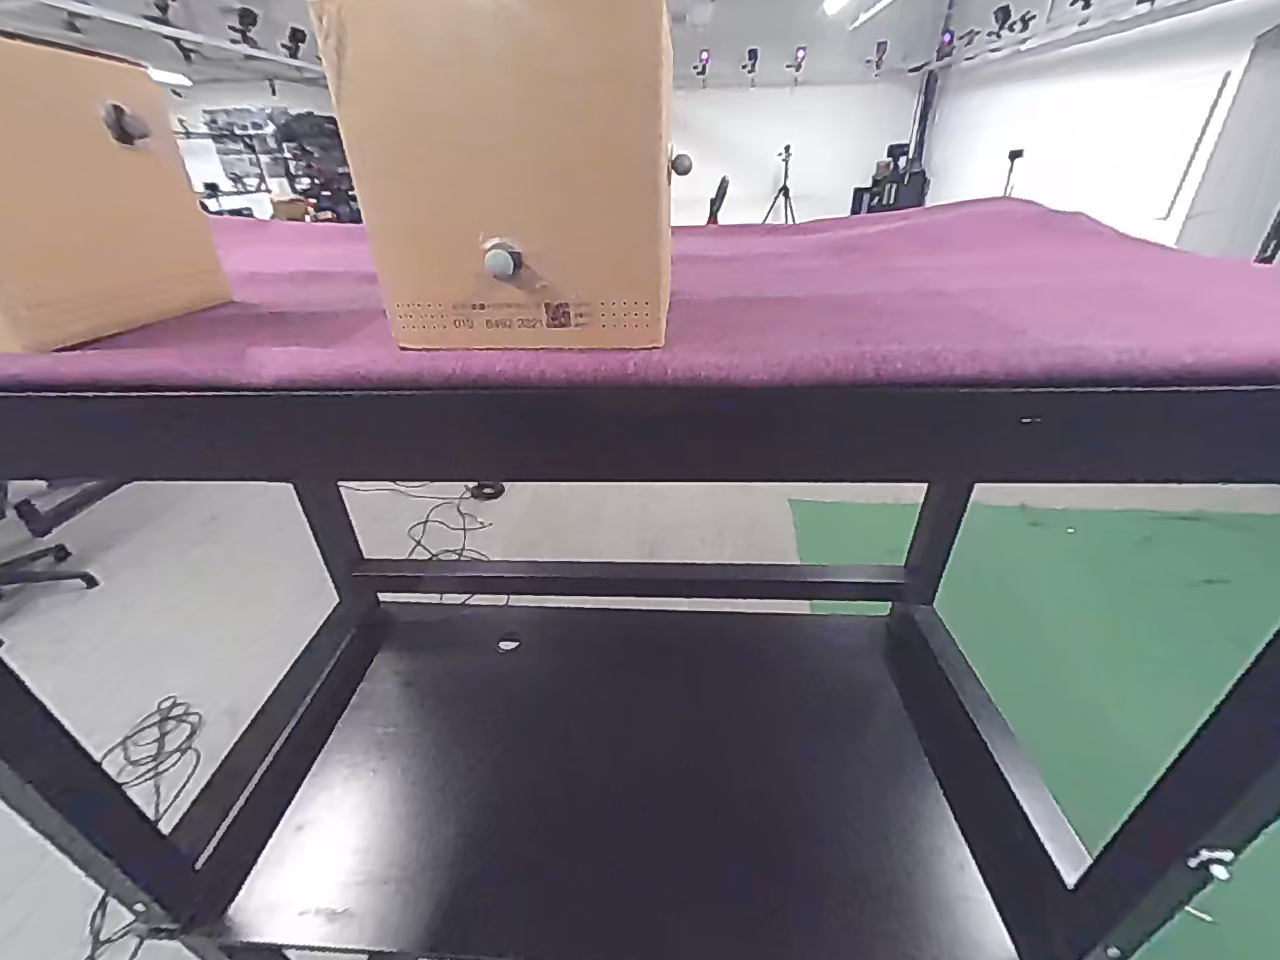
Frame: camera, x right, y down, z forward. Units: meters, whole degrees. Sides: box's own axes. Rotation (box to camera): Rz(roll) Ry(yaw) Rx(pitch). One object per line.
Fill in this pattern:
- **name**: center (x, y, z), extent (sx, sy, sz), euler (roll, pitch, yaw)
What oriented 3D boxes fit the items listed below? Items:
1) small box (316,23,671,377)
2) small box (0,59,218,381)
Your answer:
- **small box**: center (-0.065, -0.179, 0.359), extent (0.168, 0.176, 0.179), euler (1, 32, 5)
- **small box**: center (-0.438, -0.176, 0.368), extent (0.168, 0.176, 0.179), euler (1, 30, 4)
